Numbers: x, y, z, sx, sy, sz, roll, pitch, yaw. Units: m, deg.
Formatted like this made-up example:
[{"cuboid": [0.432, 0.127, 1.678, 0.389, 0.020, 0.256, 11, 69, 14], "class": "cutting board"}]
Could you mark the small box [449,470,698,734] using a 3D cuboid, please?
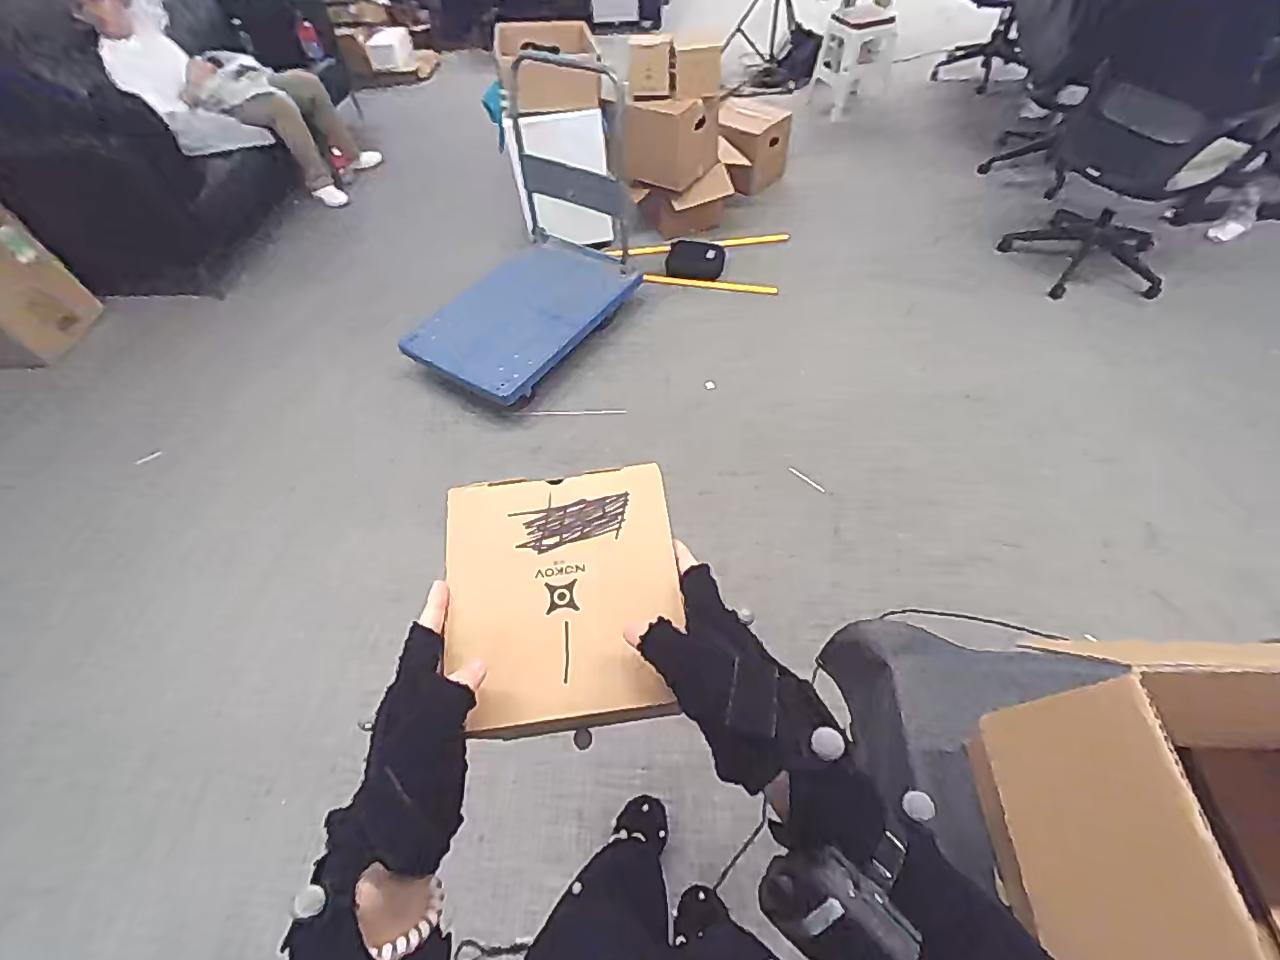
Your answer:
[{"cuboid": [-0.052, 0.111, 0.461, 0.168, 0.176, 0.179, -6, 64, -3], "class": "small box"}]
